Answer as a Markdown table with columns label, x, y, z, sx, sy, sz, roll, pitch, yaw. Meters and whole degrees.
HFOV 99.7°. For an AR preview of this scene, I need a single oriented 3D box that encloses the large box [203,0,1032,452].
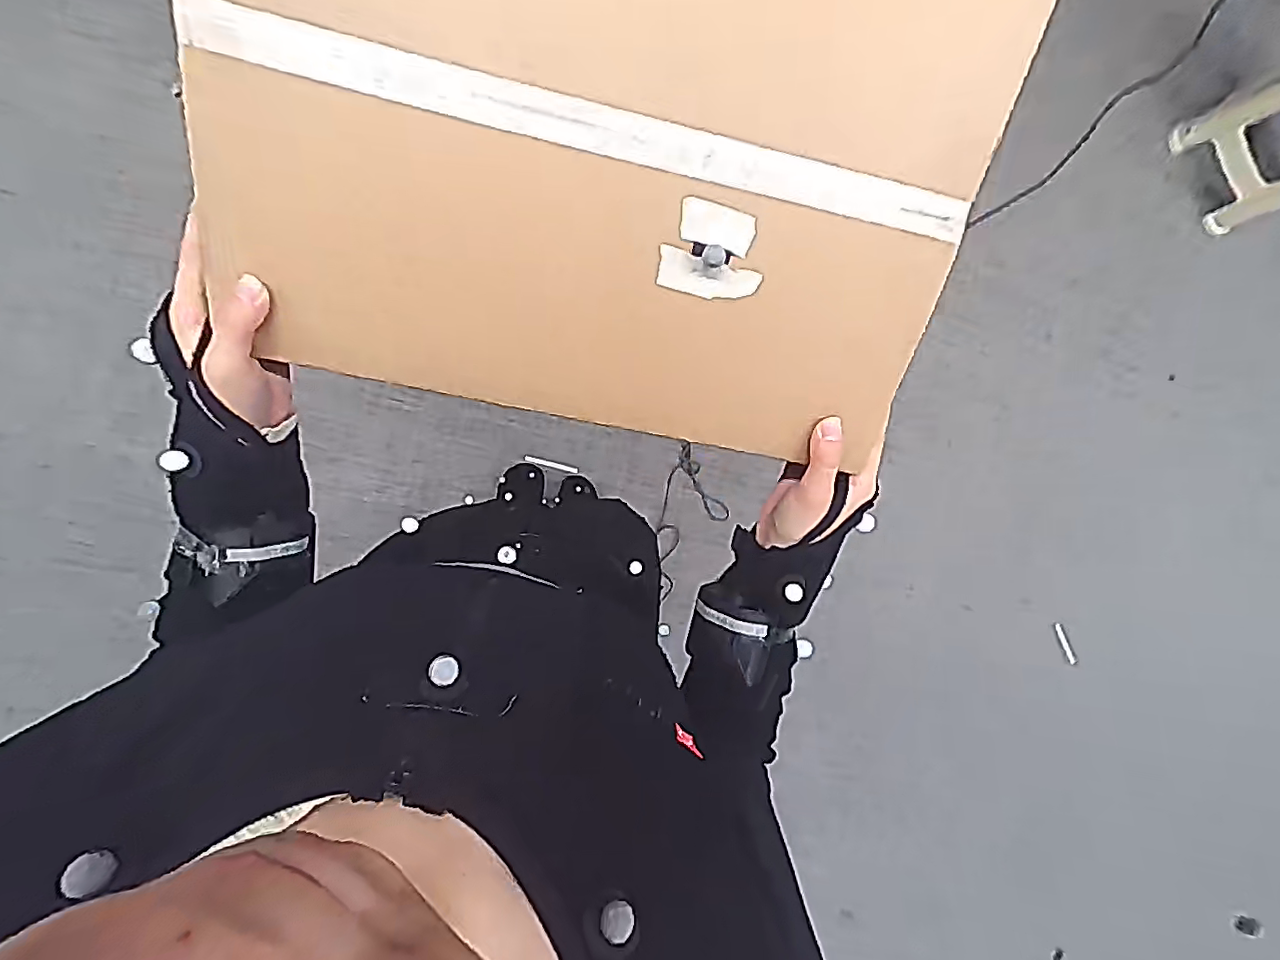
| label | x | y | z | sx | sy | sz | roll | pitch | yaw |
| --- | --- | --- | --- | --- | --- | --- | --- | --- | --- |
| large box | -0.027 | -0.243 | 0.421 | 0.408 | 0.320 | 0.320 | 9 | 114 | -8 |
